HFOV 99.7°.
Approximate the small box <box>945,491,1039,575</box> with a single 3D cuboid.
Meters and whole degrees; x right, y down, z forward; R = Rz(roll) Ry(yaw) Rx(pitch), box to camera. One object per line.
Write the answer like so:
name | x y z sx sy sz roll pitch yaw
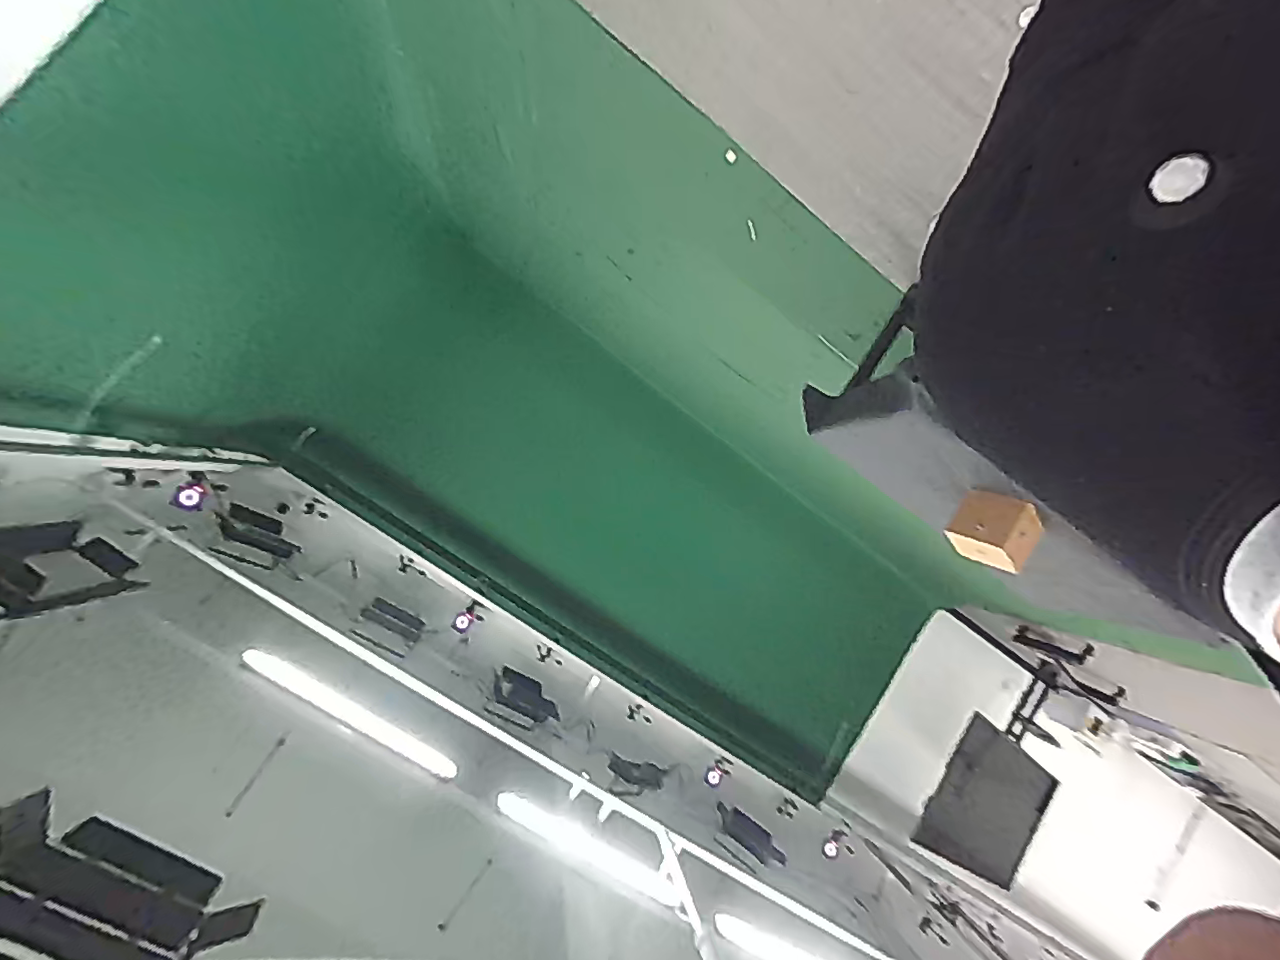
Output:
small box | 1.077 0.155 1.643 0.168 0.176 0.179 41 172 -34
